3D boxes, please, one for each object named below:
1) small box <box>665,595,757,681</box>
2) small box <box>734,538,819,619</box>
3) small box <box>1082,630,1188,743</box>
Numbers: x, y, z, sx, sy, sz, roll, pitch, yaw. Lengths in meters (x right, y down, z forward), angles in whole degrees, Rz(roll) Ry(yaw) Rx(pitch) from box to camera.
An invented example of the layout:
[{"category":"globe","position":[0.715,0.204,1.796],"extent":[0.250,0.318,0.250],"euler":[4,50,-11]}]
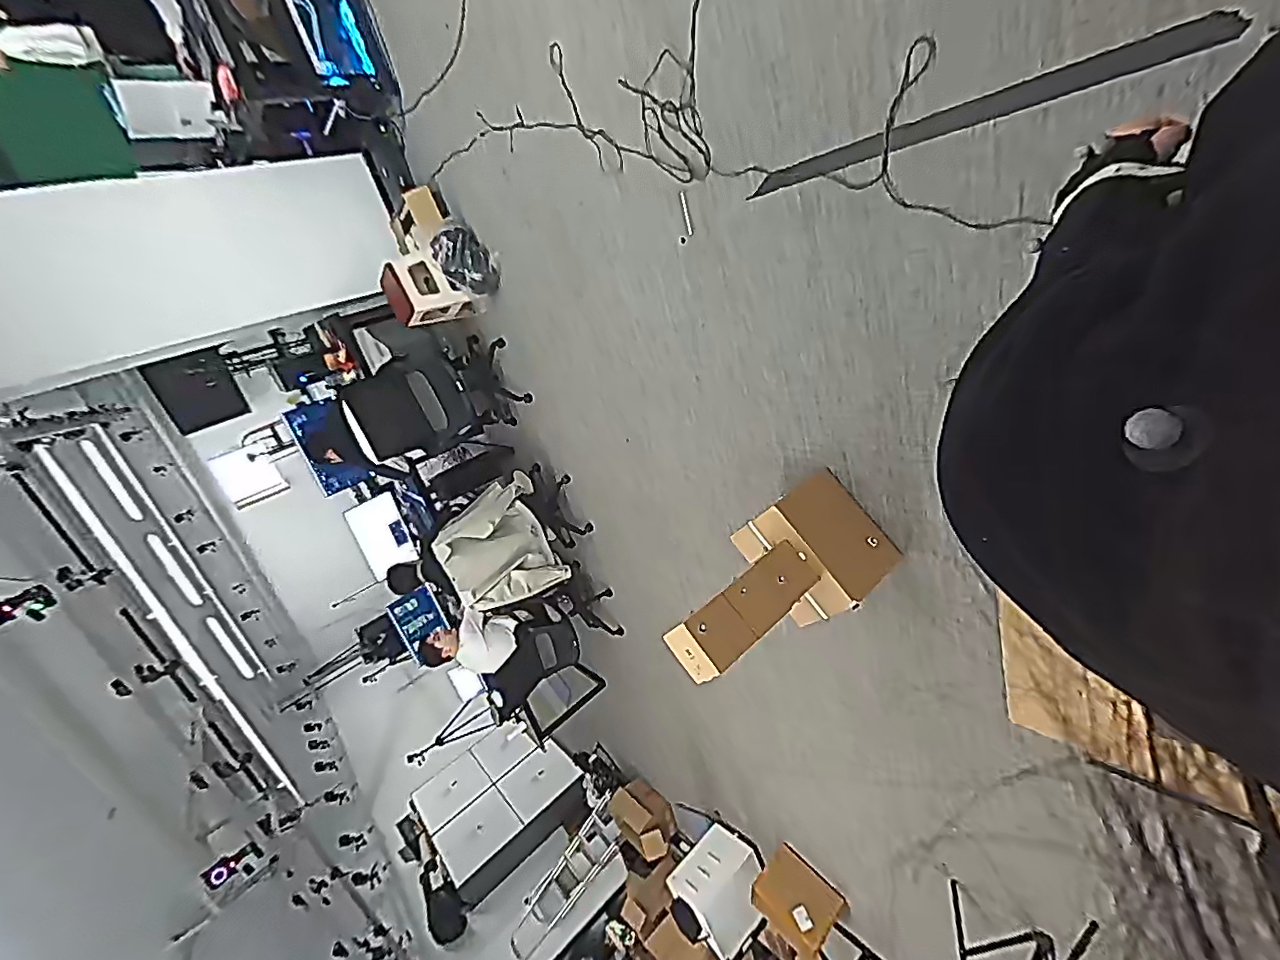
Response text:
[{"category":"small box","position":[0.210,0.463,1.609],"extent":[0.179,0.176,0.168],"euler":[52,148,13]},{"category":"small box","position":[0.451,0.322,1.784],"extent":[0.179,0.176,0.168],"euler":[52,147,14]},{"category":"small box","position":[1.256,0.514,1.373],"extent":[0.168,0.176,0.179],"euler":[14,127,46]}]
